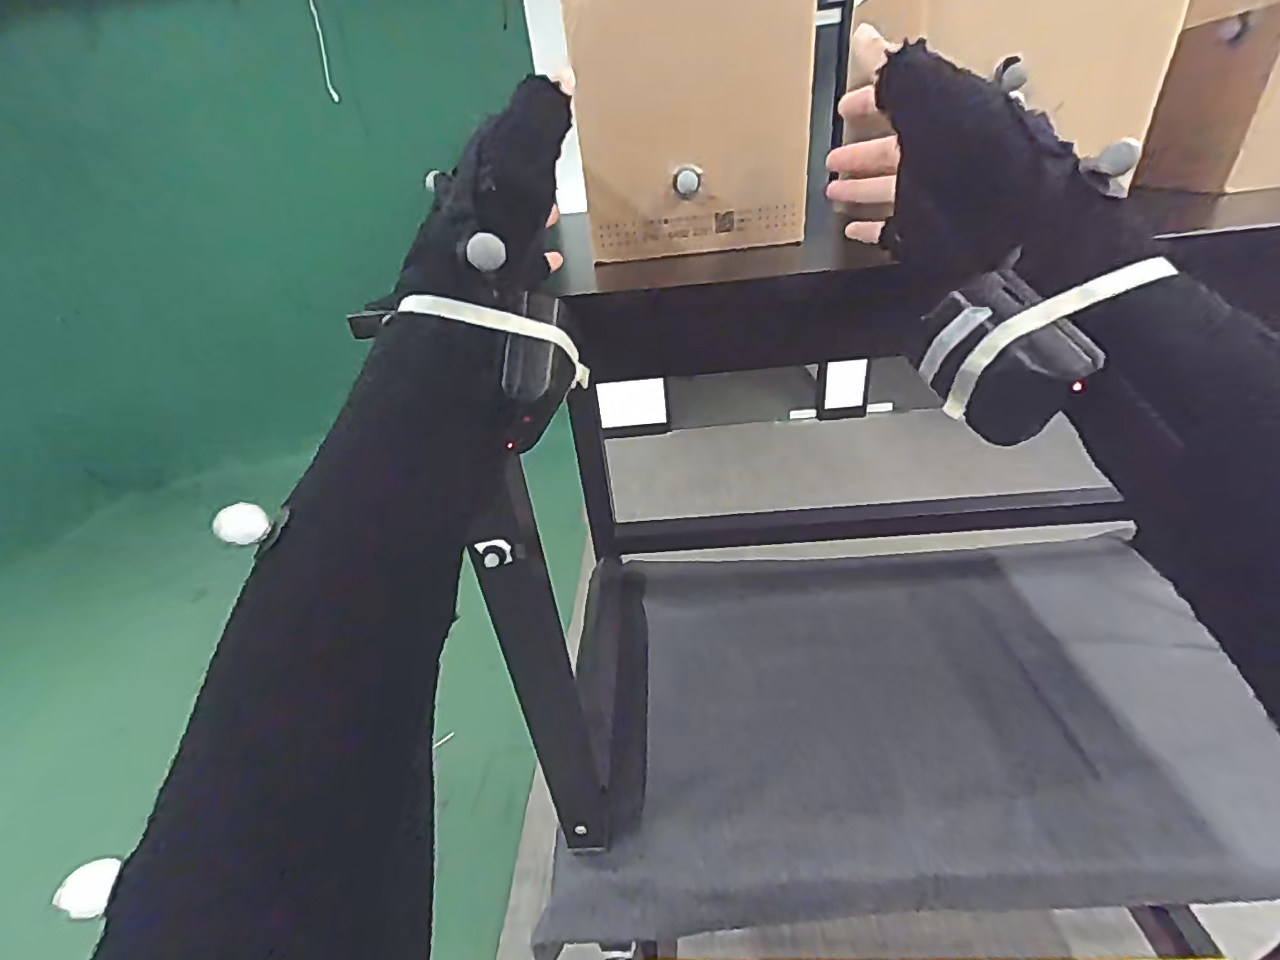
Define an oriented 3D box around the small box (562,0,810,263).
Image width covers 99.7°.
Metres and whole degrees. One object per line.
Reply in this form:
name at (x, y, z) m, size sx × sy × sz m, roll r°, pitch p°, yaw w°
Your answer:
small box at (0.037, -0.290, 0.463) m, size 0.168 × 0.176 × 0.179 m, roll -5°, pitch 31°, yaw 3°
